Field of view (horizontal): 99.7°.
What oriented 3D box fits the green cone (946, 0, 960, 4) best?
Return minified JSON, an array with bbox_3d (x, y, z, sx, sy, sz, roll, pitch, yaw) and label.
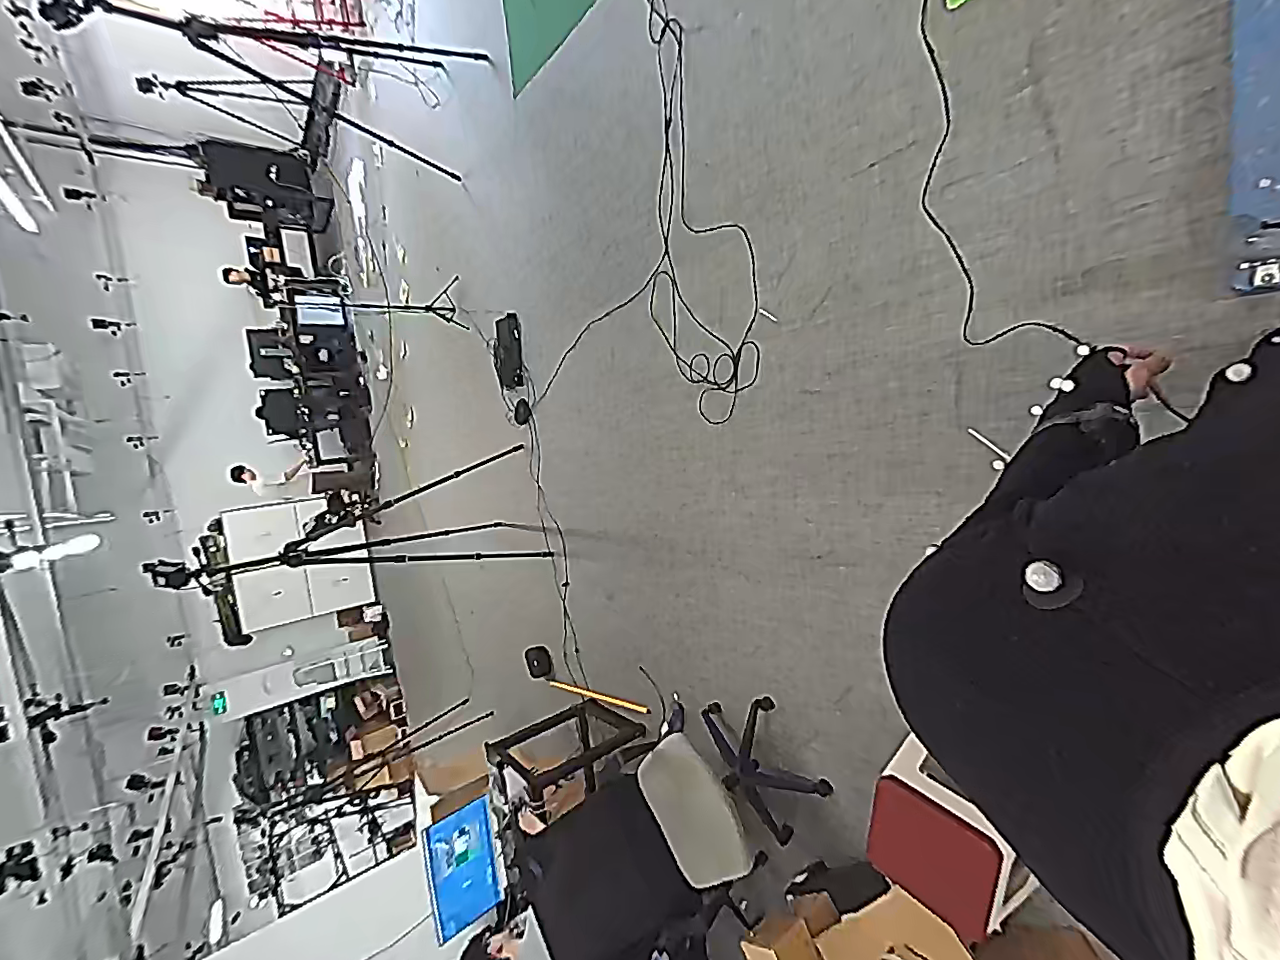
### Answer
[{"bbox_3d":[0.712,-1.320,1.242,0.202,0.368,0.200,-8,92,55],"label":"green cone"}]
